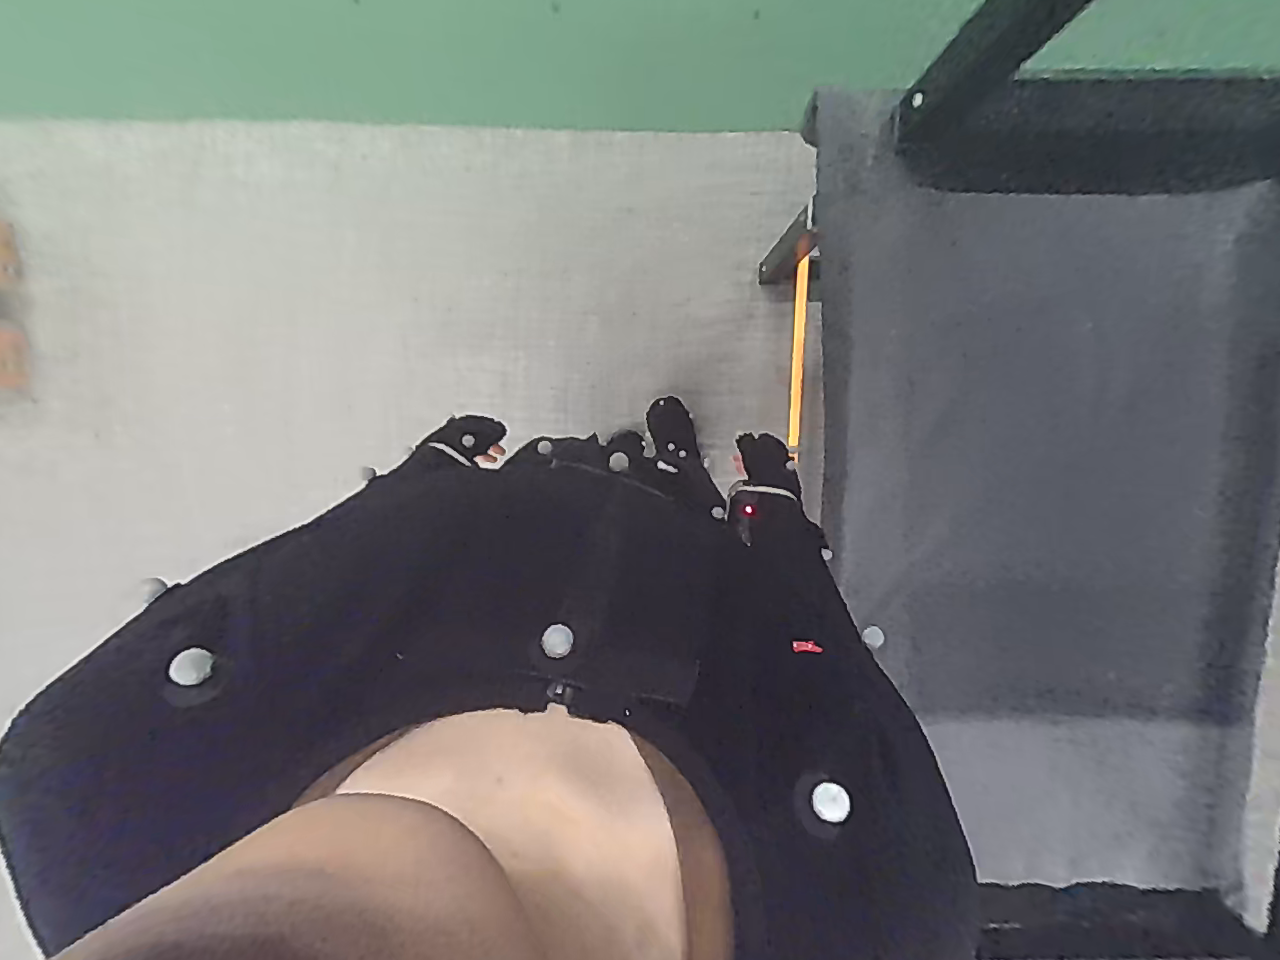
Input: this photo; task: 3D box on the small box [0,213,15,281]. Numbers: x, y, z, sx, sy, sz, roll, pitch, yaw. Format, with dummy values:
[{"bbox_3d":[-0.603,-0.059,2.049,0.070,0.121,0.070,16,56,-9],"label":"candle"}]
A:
[{"bbox_3d":[-1.704,-0.592,1.323,0.179,0.176,0.168,0,97,0],"label":"small box"}]
